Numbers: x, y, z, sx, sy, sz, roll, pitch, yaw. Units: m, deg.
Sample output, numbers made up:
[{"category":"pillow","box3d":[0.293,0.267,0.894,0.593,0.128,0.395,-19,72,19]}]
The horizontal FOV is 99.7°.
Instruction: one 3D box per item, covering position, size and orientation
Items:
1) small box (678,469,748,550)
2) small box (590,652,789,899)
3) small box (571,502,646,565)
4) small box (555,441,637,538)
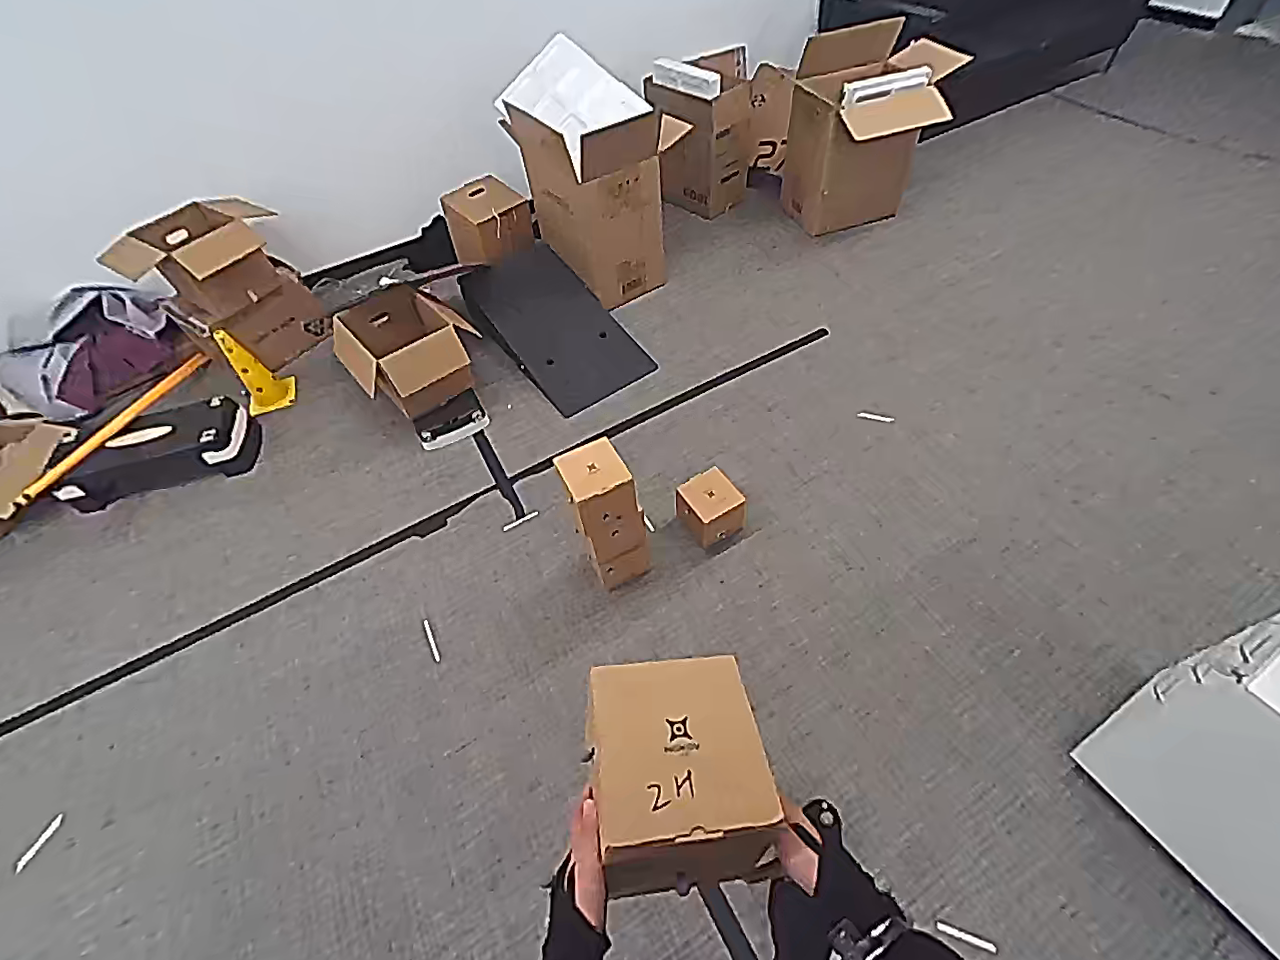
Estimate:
[{"category":"small box","box3d":[0.242,0.103,1.830,0.168,0.176,0.179,-29,56,-14]},{"category":"small box","box3d":[0.035,0.312,0.582,0.168,0.176,0.179,-2,40,-10]},{"category":"small box","box3d":[-0.094,0.127,1.632,0.179,0.176,0.168,-26,54,-16]},{"category":"small box","box3d":[-0.119,0.027,1.506,0.168,0.176,0.179,-25,54,-14]}]
